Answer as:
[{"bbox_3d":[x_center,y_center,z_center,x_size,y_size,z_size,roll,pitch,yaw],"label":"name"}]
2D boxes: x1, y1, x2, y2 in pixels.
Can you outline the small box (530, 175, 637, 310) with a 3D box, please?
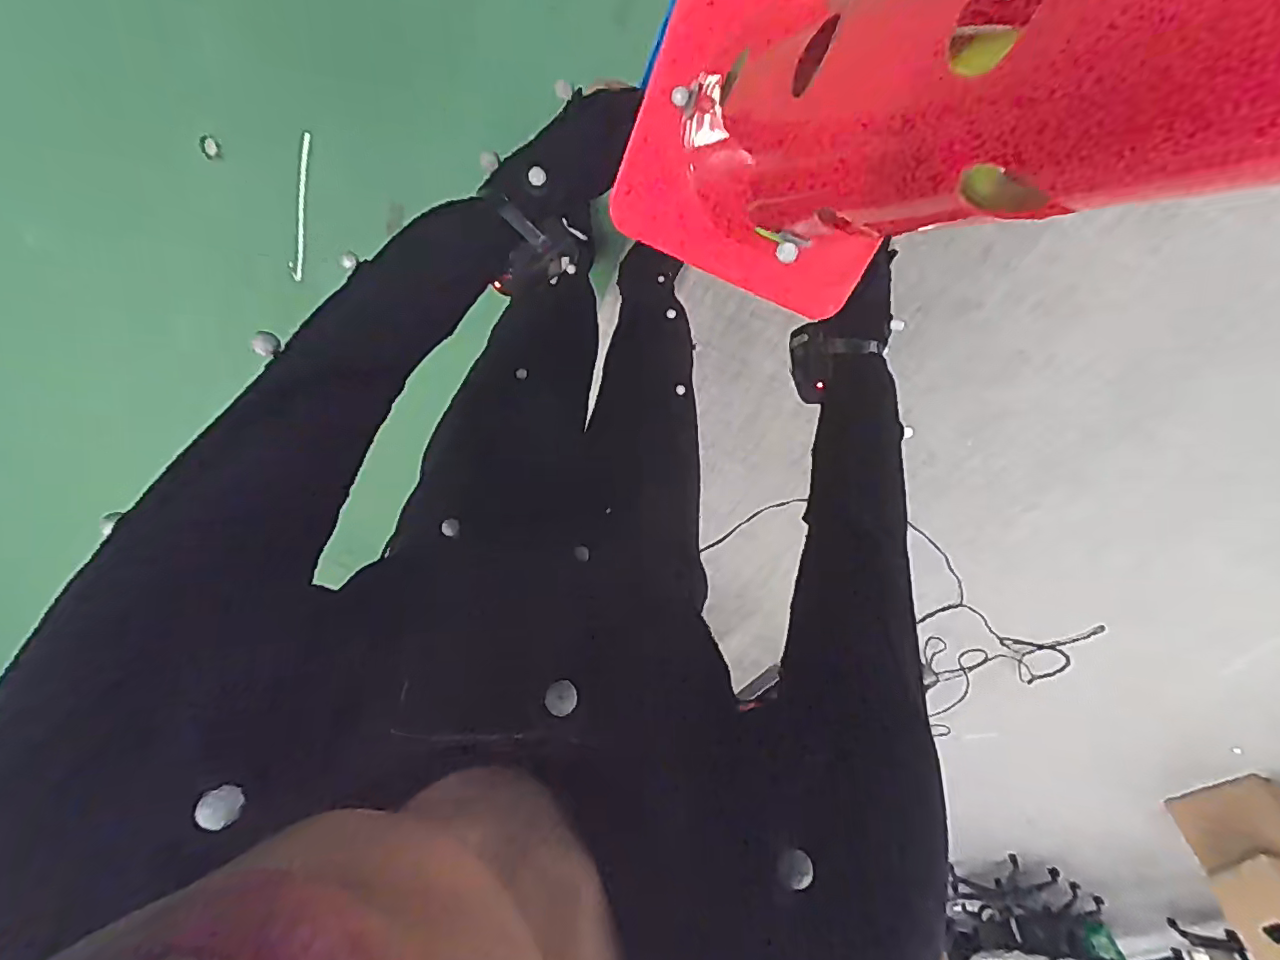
[{"bbox_3d":[-0.124,-0.481,1.100,0.168,0.176,0.179,7,133,-24],"label":"small box"}]
